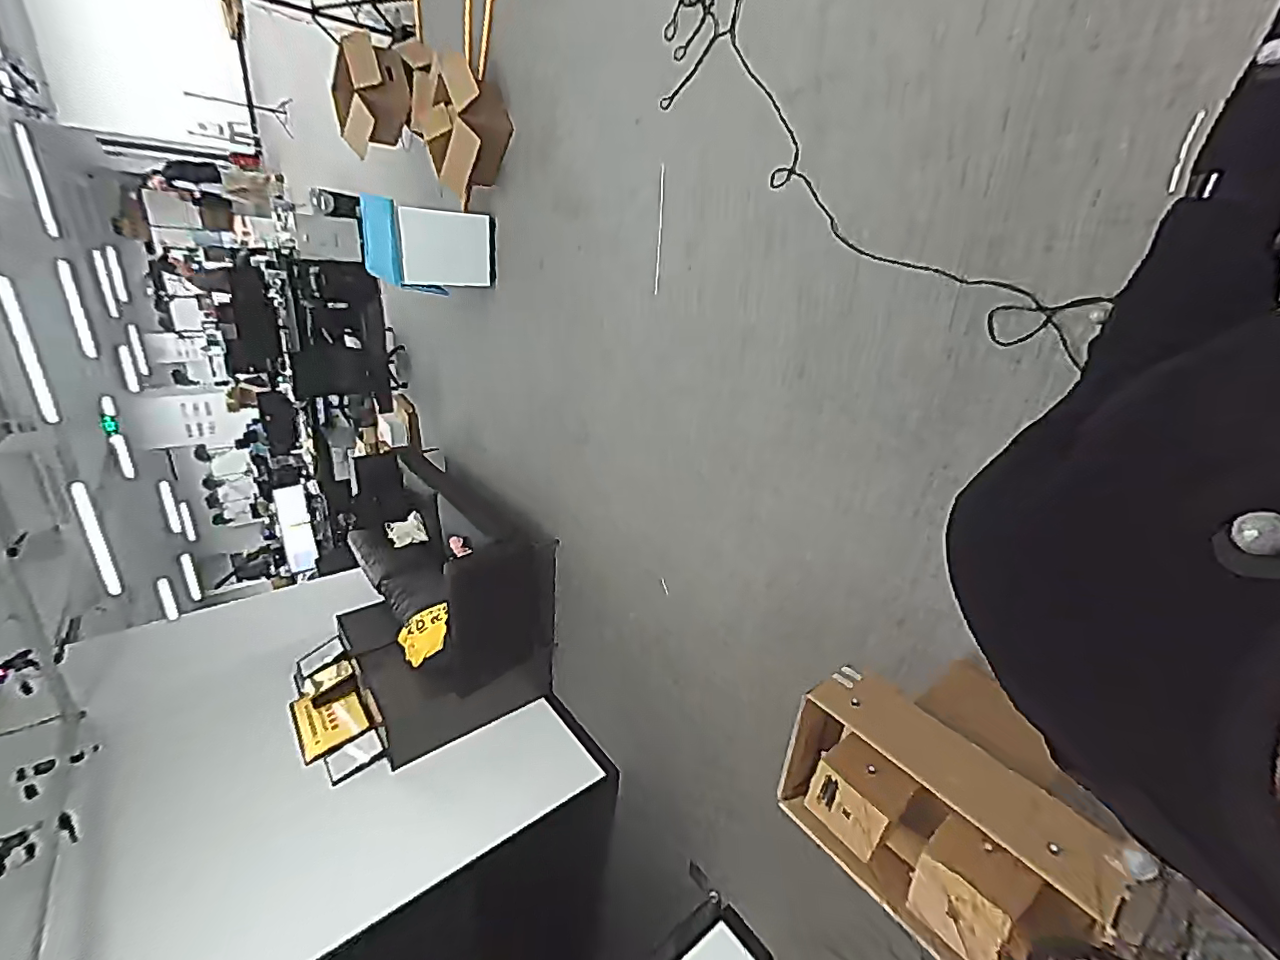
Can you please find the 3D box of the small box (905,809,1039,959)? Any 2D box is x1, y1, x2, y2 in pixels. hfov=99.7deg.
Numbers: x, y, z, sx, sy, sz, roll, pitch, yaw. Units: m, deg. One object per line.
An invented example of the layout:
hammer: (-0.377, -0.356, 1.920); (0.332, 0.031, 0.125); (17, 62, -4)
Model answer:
small box: (0.678, 0.831, 1.105); (0.168, 0.176, 0.179); (26, 120, 47)
